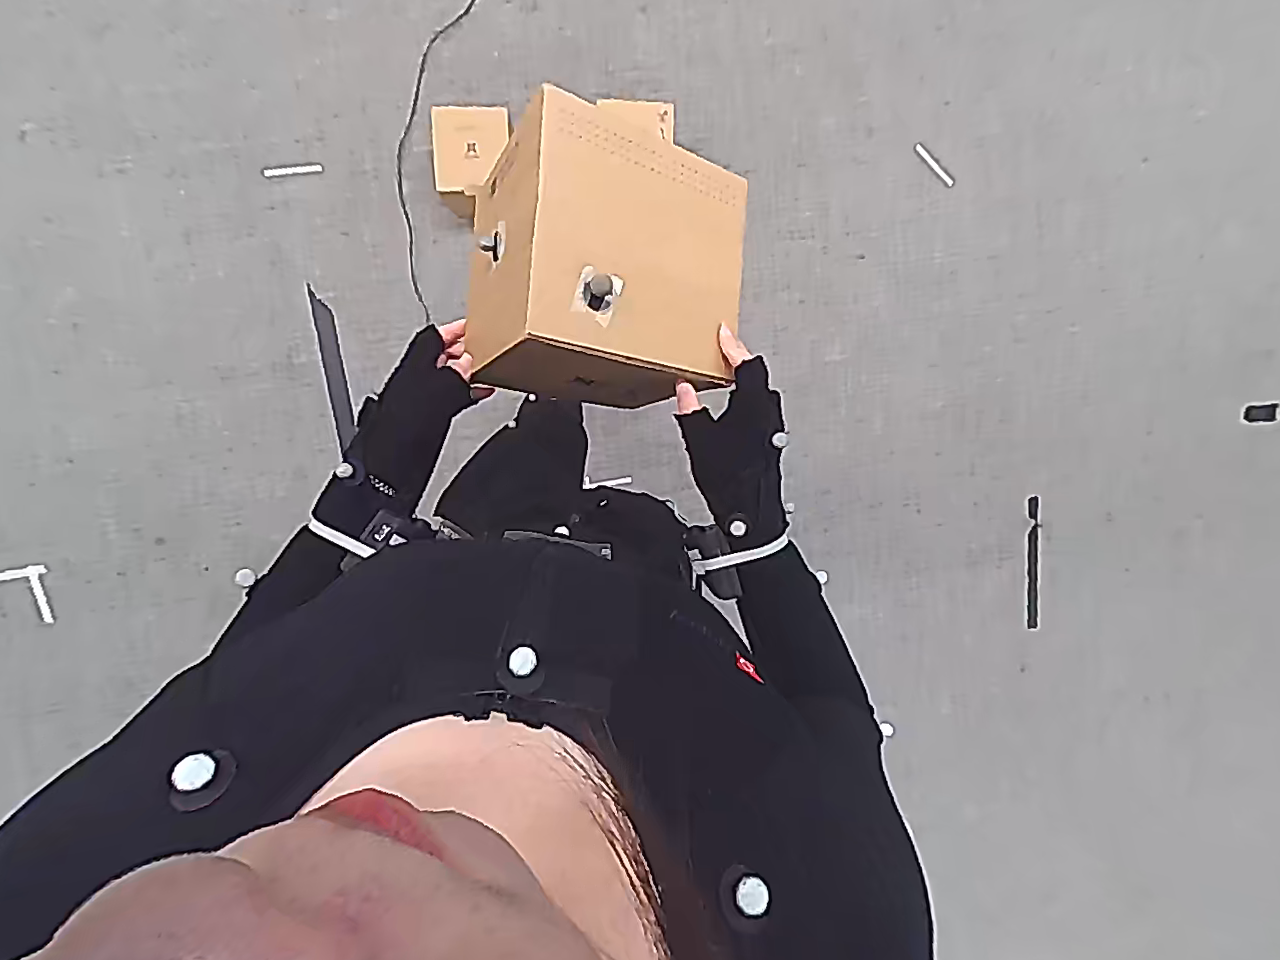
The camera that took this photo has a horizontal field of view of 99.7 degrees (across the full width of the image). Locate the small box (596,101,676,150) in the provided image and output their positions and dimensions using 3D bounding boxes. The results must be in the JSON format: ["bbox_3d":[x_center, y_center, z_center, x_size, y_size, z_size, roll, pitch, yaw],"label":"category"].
[{"bbox_3d":[-0.014,-0.758,1.277,0.179,0.176,0.168,1,98,-4],"label":"small box"}]

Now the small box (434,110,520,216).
[{"bbox_3d":[-0.367,-0.726,1.261,0.168,0.176,0.179,-1,98,-4],"label":"small box"}]

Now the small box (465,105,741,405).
[{"bbox_3d":[-0.034,-0.168,0.456,0.179,0.168,0.176,5,88,-31],"label":"small box"}]
